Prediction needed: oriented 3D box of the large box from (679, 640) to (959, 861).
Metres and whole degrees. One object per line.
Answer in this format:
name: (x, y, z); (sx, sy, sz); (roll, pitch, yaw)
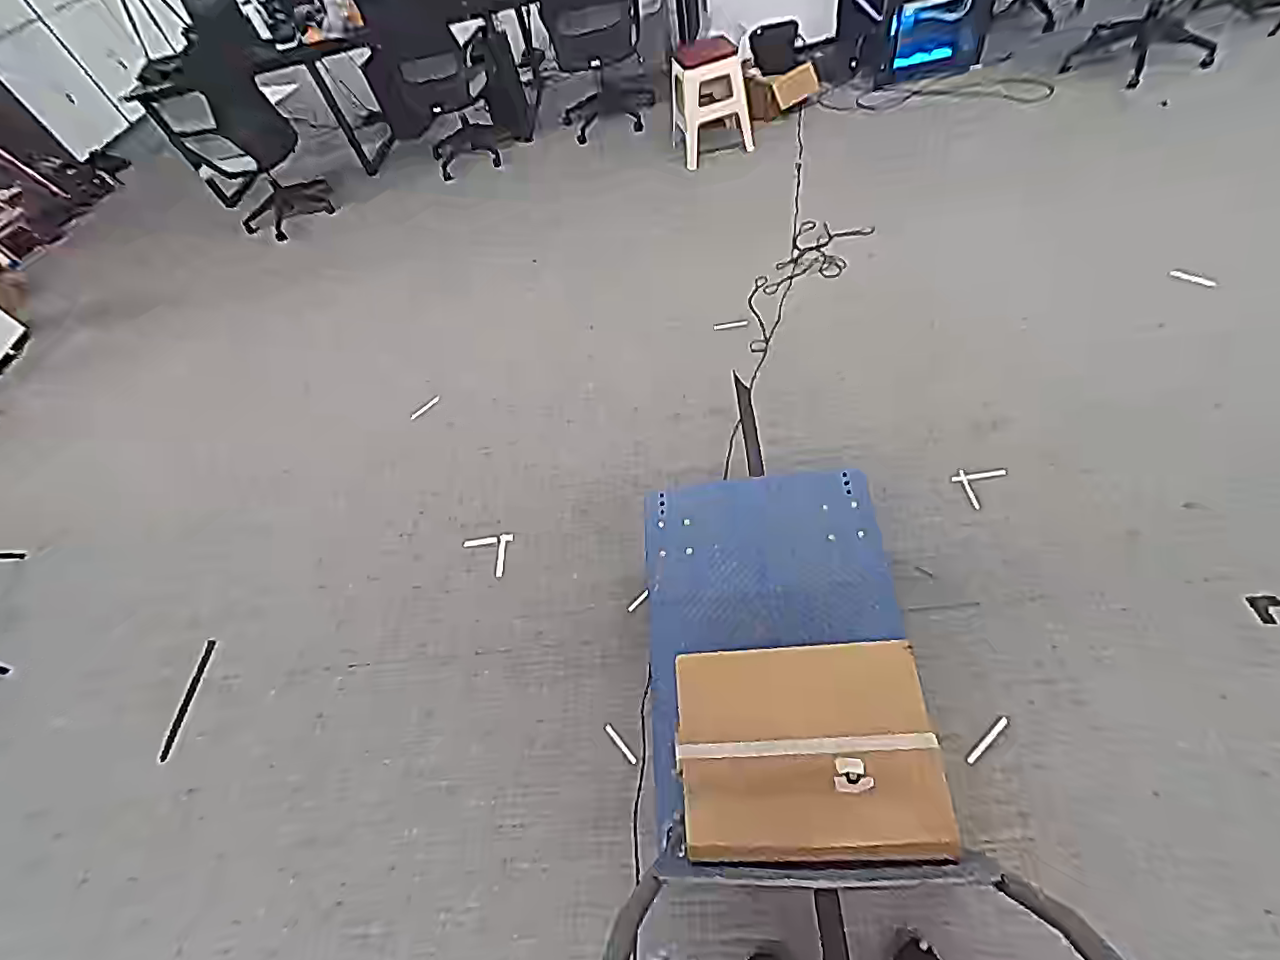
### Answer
large box: (0.299, 0.506, 1.025); (0.408, 0.320, 0.320); (-7, 63, 8)
